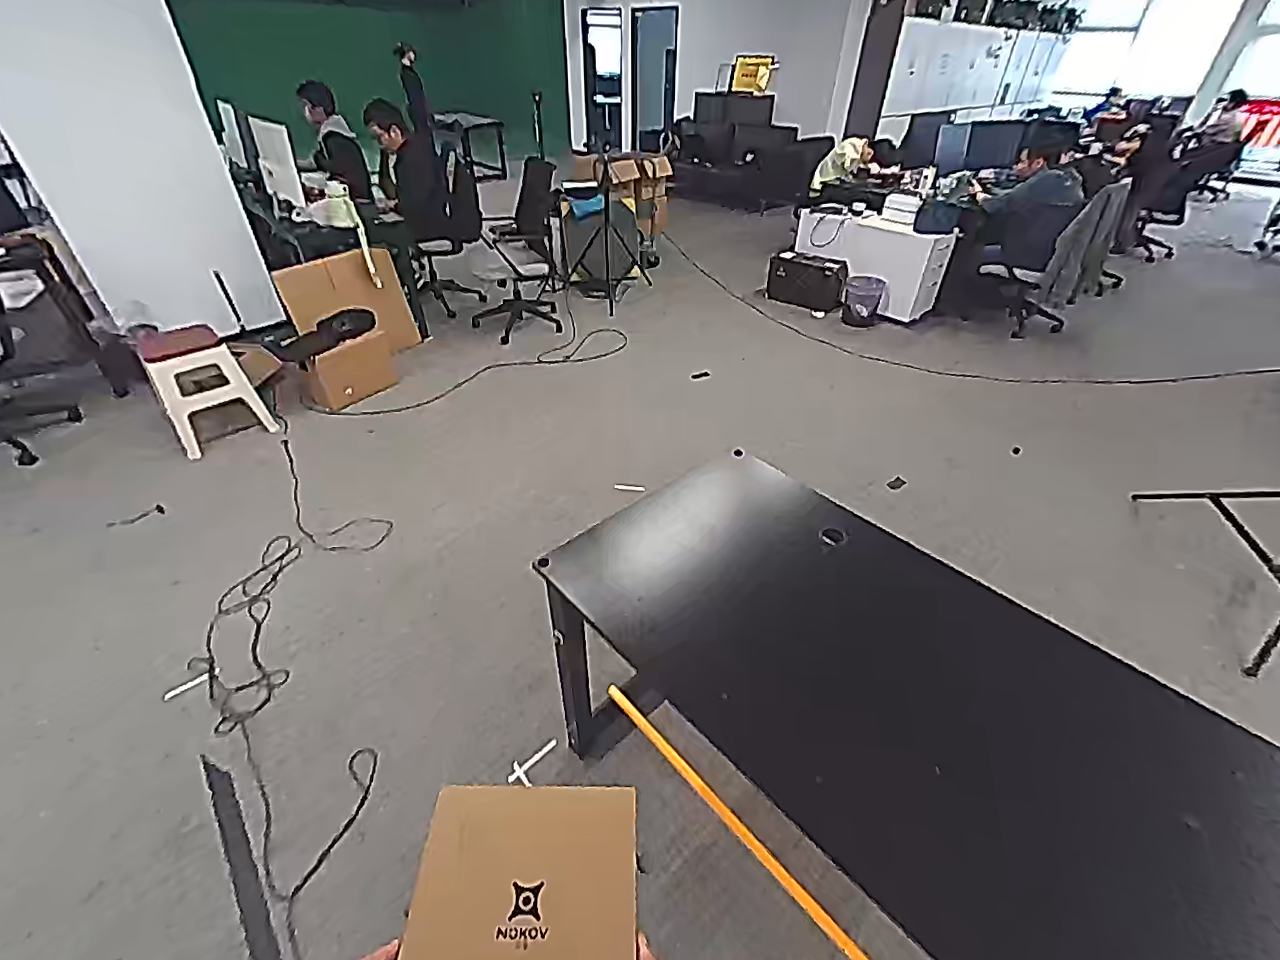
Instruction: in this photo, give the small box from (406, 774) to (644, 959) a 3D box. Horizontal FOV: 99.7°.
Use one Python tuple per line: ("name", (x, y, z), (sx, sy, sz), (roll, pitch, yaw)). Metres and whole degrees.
("small box", (-0.084, 0.372, 0.451), (0.168, 0.176, 0.179), (2, 41, -2))
